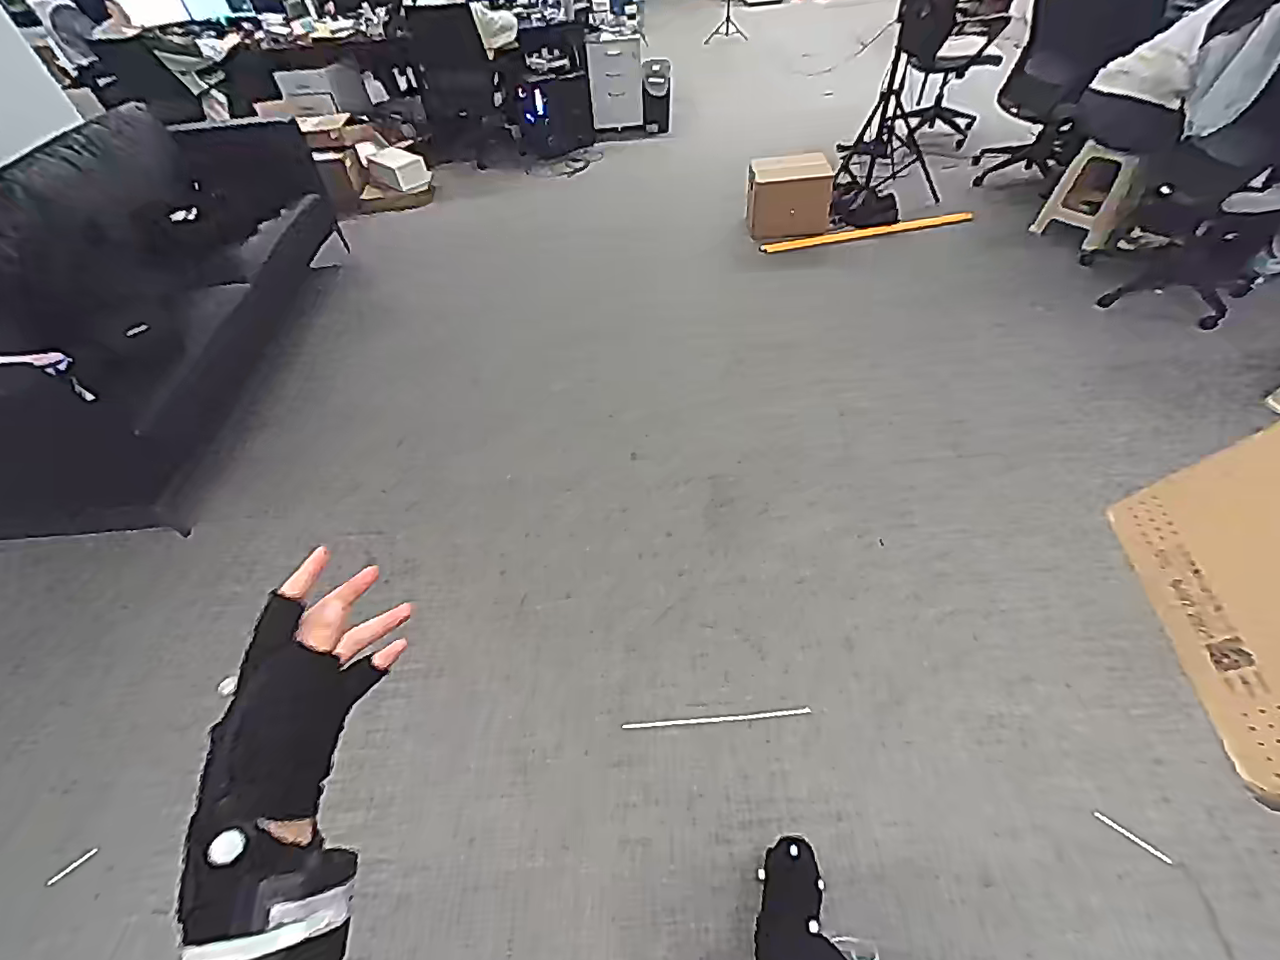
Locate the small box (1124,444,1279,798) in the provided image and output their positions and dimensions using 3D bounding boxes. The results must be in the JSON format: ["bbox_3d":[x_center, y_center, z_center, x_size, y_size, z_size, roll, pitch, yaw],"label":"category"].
[{"bbox_3d":[0.391,0.067,0.246,0.179,0.176,0.168,24,48,-12],"label":"small box"}]
